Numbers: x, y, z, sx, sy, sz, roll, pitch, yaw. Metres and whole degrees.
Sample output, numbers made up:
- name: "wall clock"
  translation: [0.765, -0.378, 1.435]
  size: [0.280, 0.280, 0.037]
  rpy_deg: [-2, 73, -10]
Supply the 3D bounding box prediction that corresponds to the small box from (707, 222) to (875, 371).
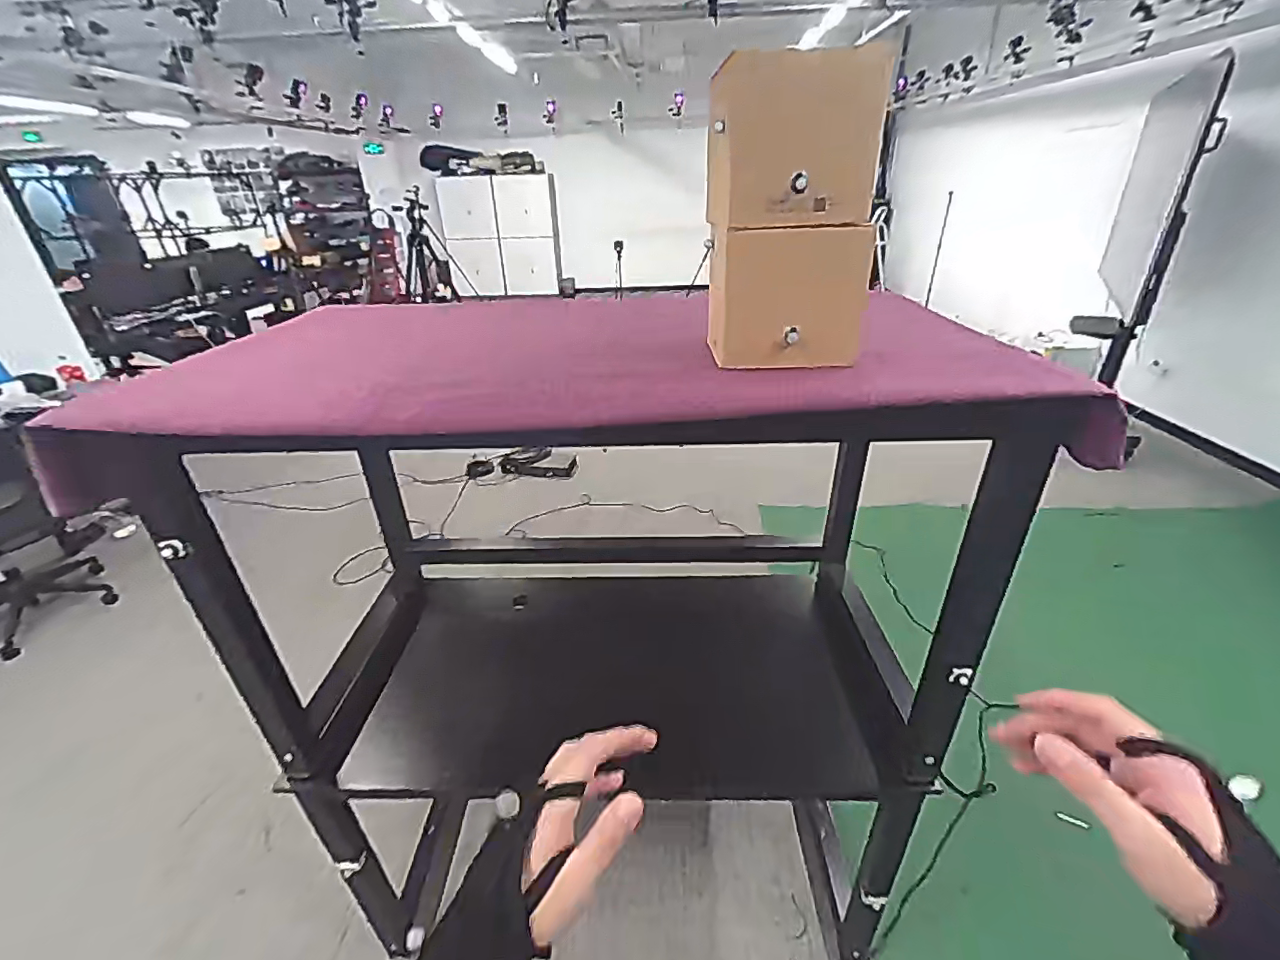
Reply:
- name: "small box"
  translation: [0.186, -0.248, 0.724]
  size: [0.179, 0.176, 0.168]
  rpy_deg: [-1, 27, 2]
